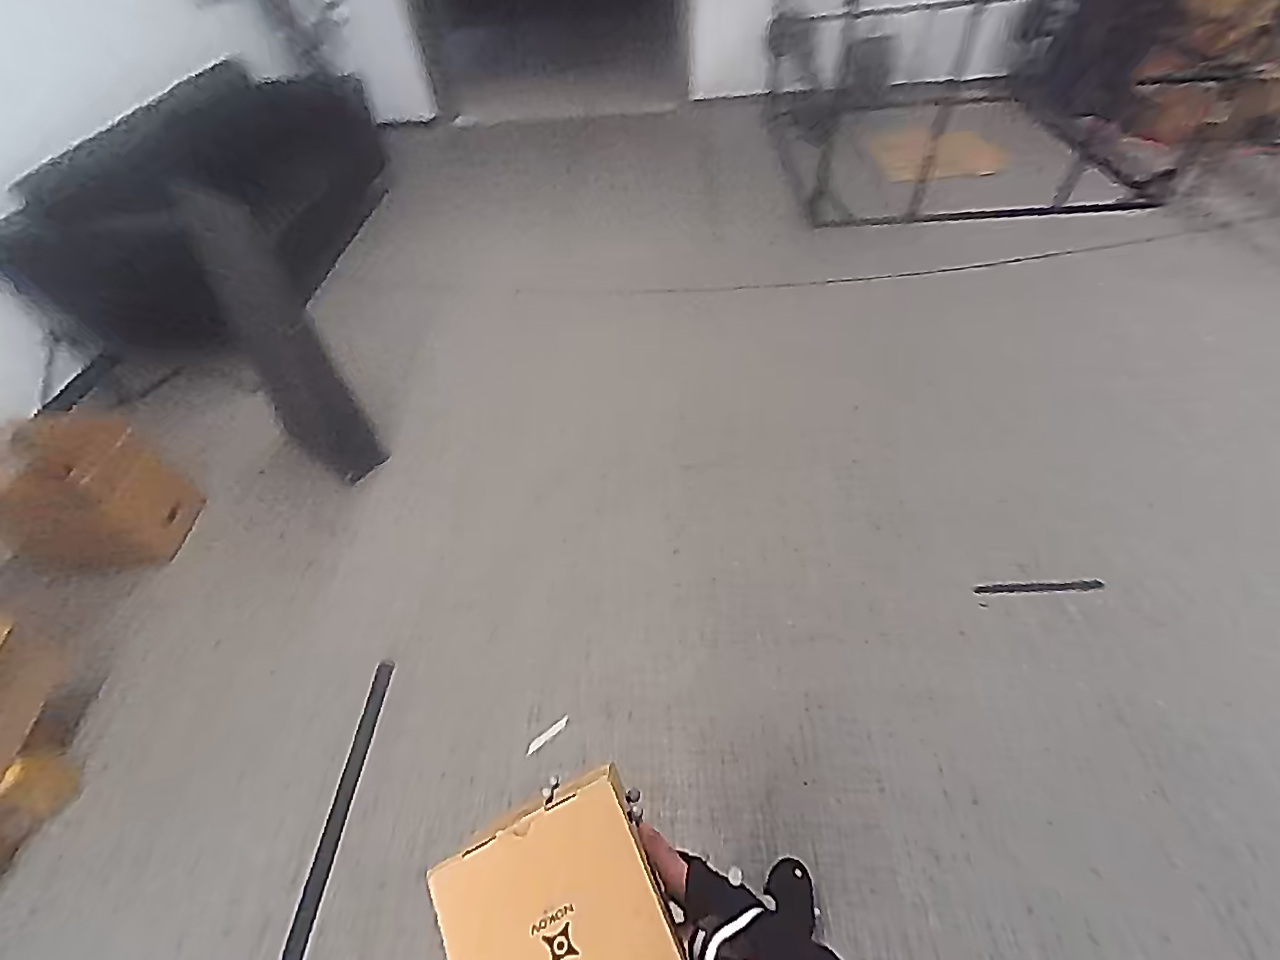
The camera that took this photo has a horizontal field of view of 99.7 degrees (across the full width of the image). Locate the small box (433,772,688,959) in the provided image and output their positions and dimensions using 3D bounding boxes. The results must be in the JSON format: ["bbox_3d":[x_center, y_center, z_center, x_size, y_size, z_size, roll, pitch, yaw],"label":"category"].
[{"bbox_3d":[-0.061,0.393,0.493,0.168,0.176,0.179,-22,67,-12],"label":"small box"}]
